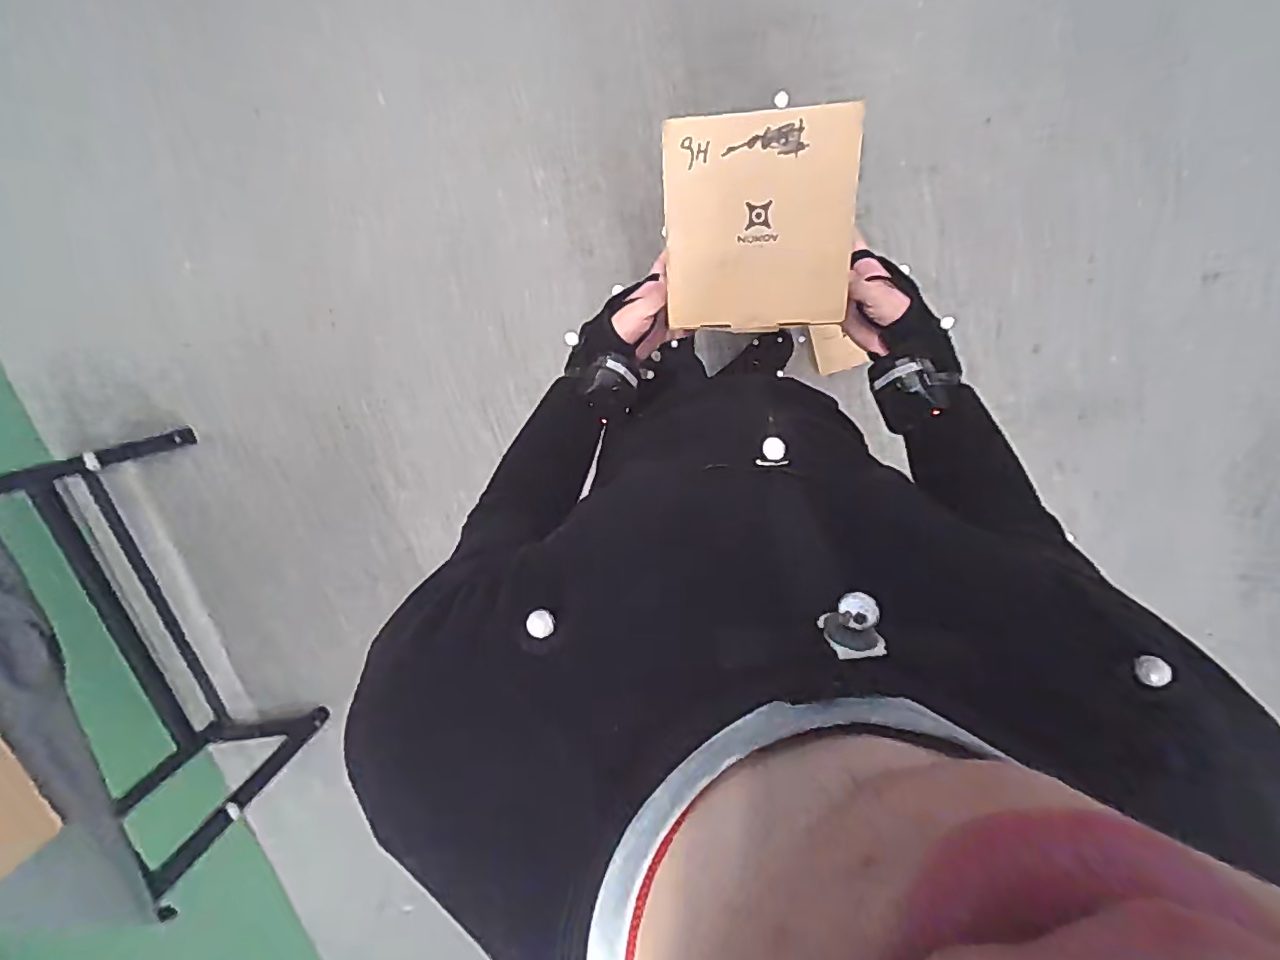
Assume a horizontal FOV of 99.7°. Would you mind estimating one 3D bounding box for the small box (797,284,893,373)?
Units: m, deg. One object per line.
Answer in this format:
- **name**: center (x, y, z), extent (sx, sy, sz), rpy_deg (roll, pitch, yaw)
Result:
- **small box**: center (0.500, -0.376, 1.336), extent (0.179, 0.176, 0.168), rpy_deg (-14, 105, 14)
